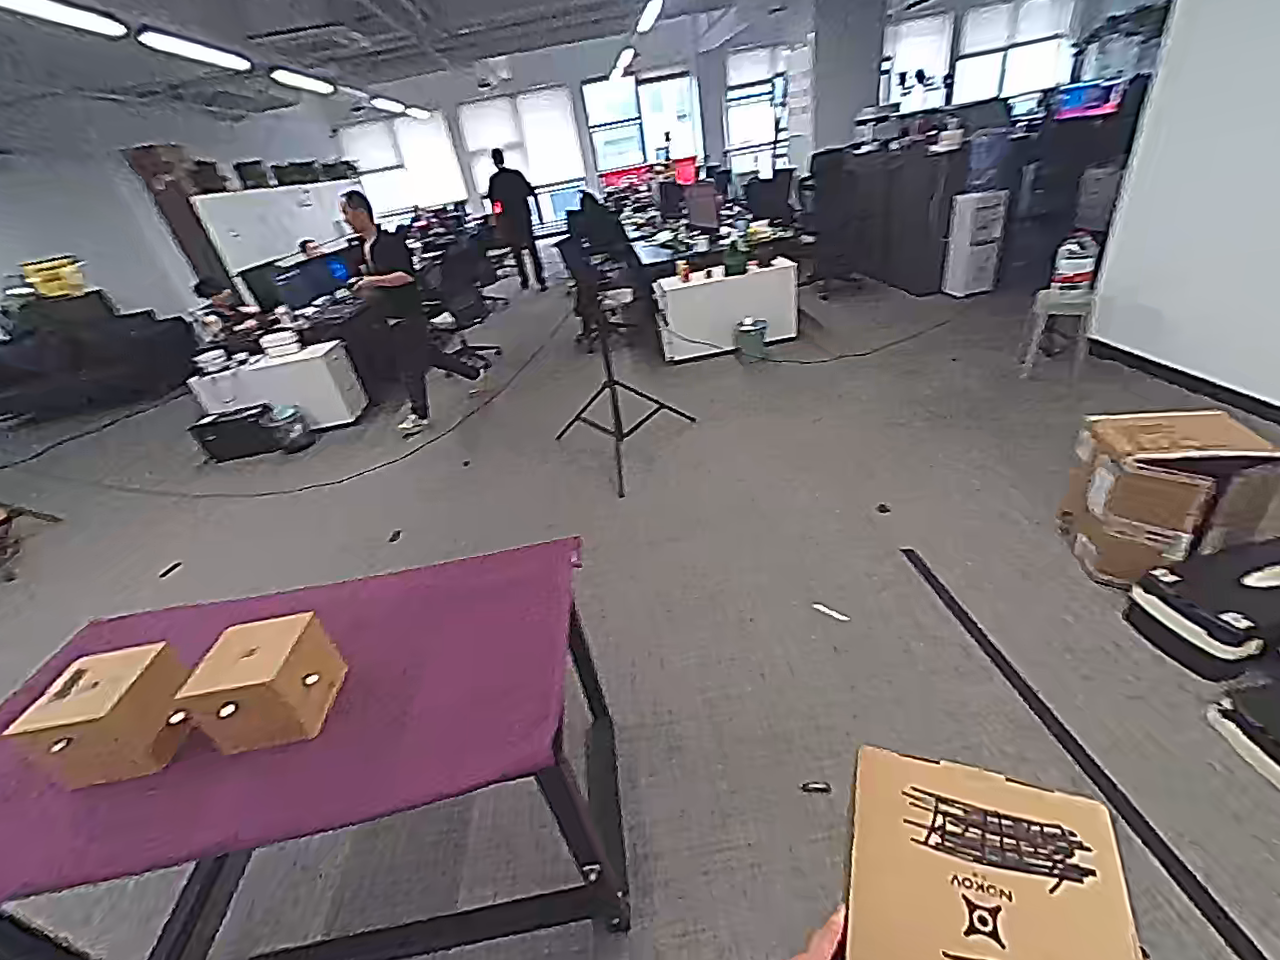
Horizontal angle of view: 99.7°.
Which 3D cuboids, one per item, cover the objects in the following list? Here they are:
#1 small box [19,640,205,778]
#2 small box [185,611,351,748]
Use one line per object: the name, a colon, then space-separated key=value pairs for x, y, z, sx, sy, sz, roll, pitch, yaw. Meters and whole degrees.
small box: x=-0.972 y=0.438 z=1.030 sx=0.179 sy=0.176 sz=0.168 roll=-10 pitch=32 yaw=0
small box: x=-0.693 y=0.382 z=1.037 sx=0.179 sy=0.176 sz=0.168 roll=-10 pitch=31 yaw=0
